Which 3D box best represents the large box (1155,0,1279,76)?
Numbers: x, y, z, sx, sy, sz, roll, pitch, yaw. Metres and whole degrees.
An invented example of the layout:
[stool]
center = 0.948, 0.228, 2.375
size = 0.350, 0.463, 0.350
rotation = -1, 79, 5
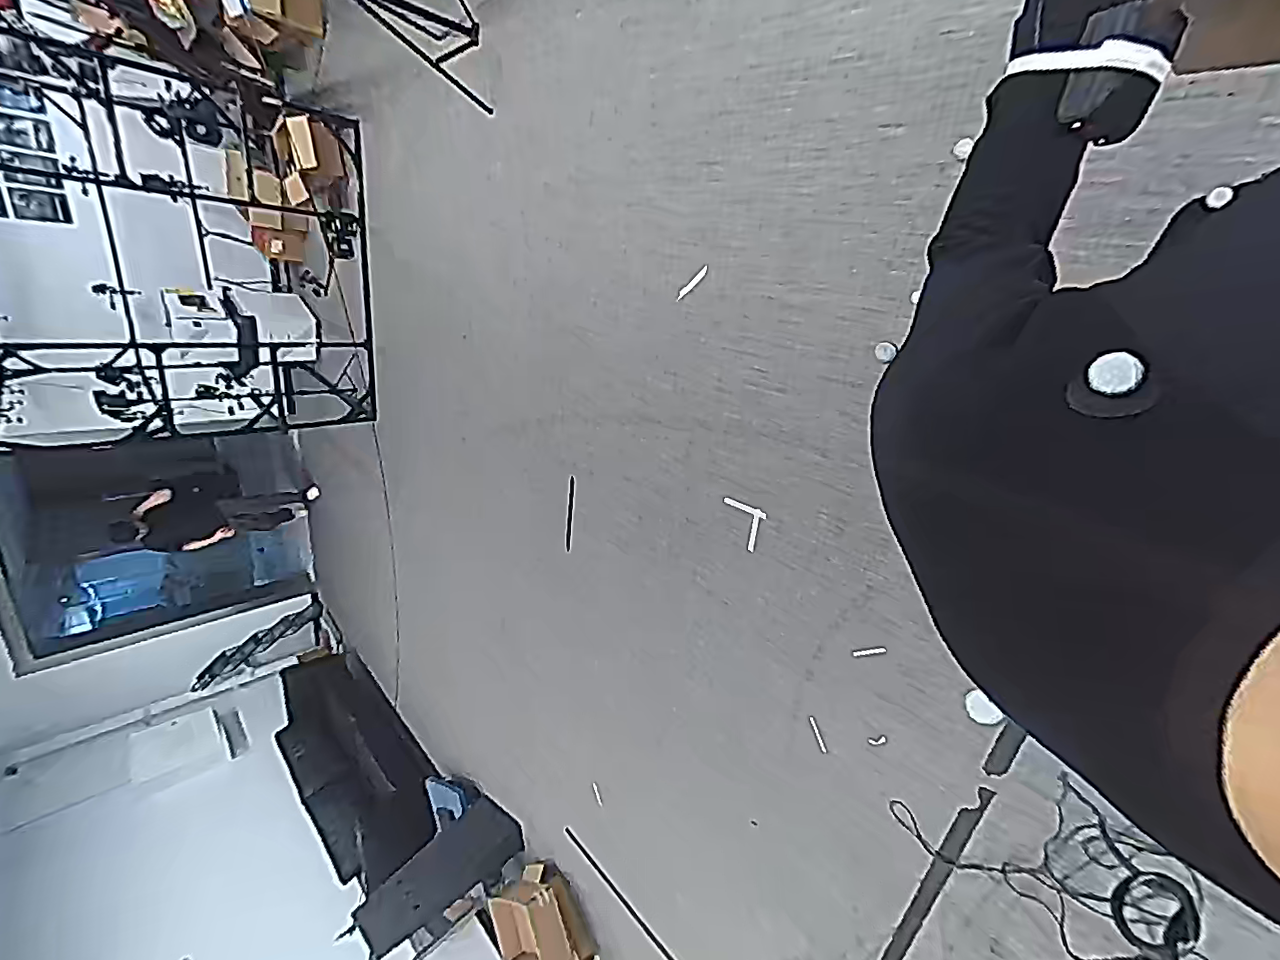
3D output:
[large box]
center = 0.574, -0.443, 0.263
size = 0.408, 0.320, 0.320
rotation = 22, 124, 39
